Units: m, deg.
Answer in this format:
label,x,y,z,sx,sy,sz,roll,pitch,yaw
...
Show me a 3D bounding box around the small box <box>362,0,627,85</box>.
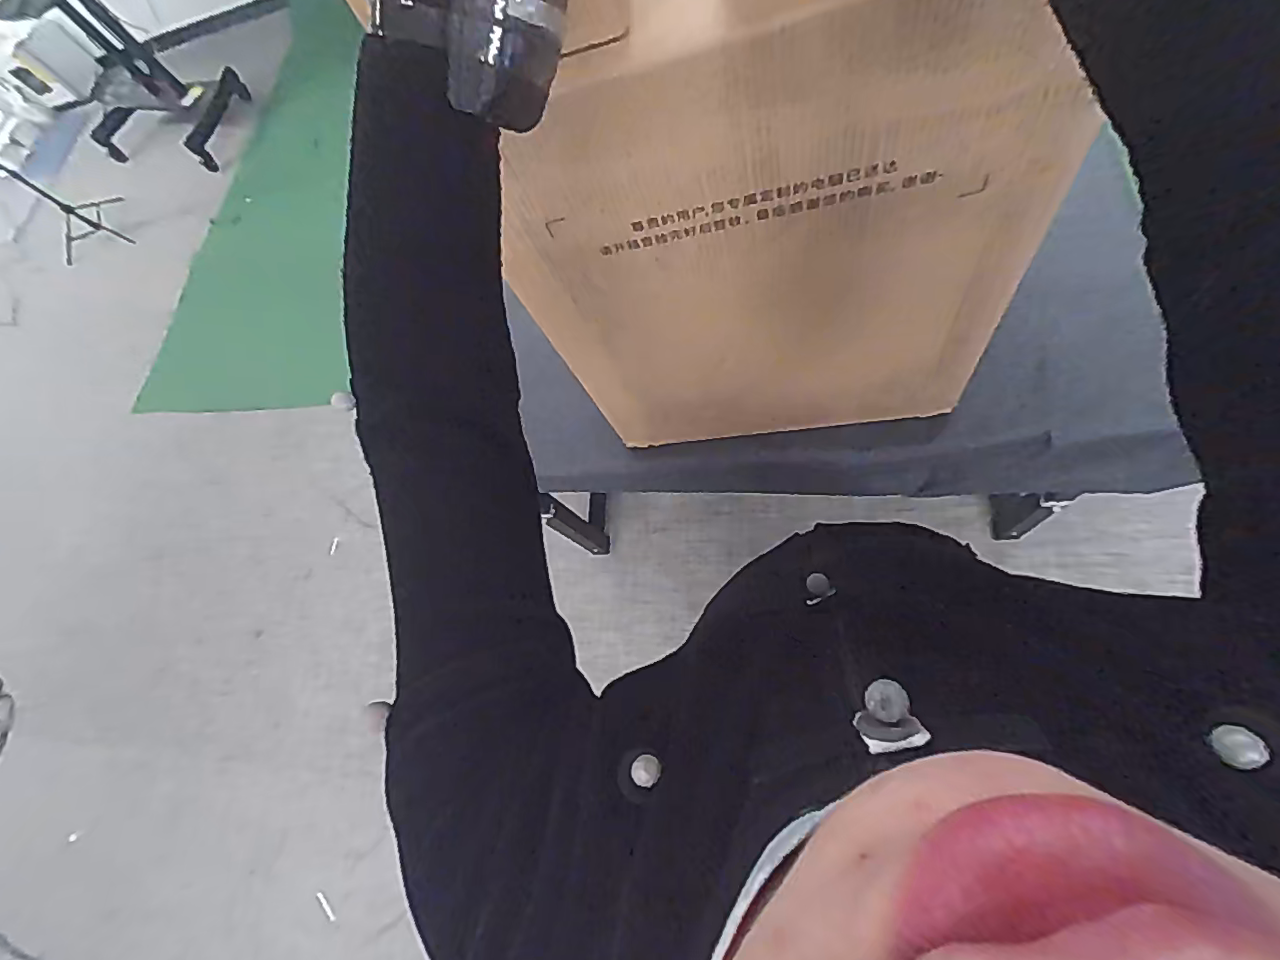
label,x,y,z,sx,sy,sz,roll,pitch,yaw
small box,-0.115,-0.408,0.354,0.179,0.176,0.168,-5,70,16
